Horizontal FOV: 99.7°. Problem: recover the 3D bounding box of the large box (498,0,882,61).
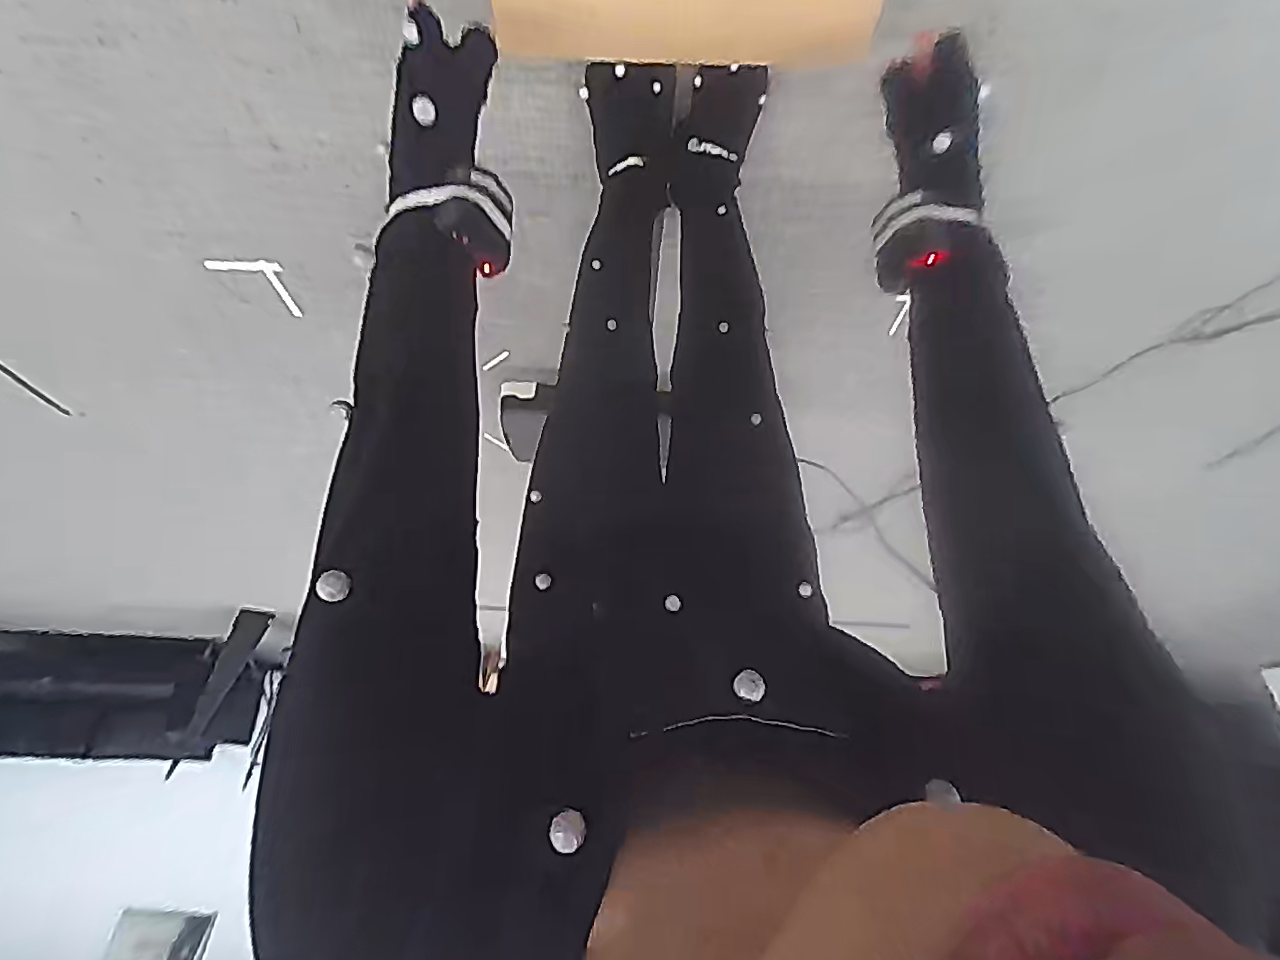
[{"bbox_3d":[0.051,-0.674,0.549,0.408,0.320,0.320,1,149,0],"label":"large box"}]
